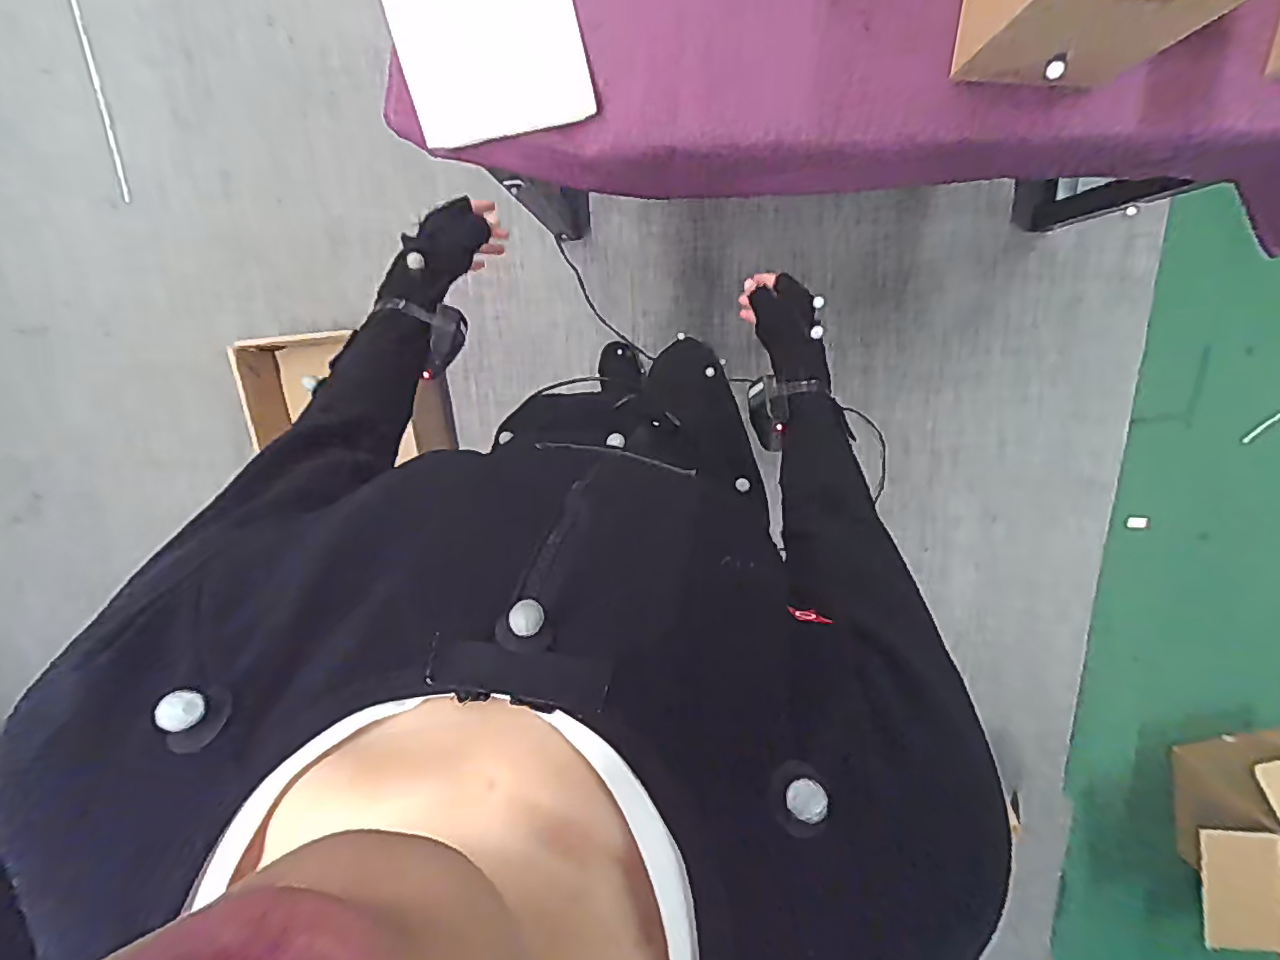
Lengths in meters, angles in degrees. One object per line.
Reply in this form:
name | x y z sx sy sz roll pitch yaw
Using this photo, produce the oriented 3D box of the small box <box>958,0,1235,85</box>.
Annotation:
small box | 0.426 -0.506 0.496 0.168 0.176 0.179 4 105 1
